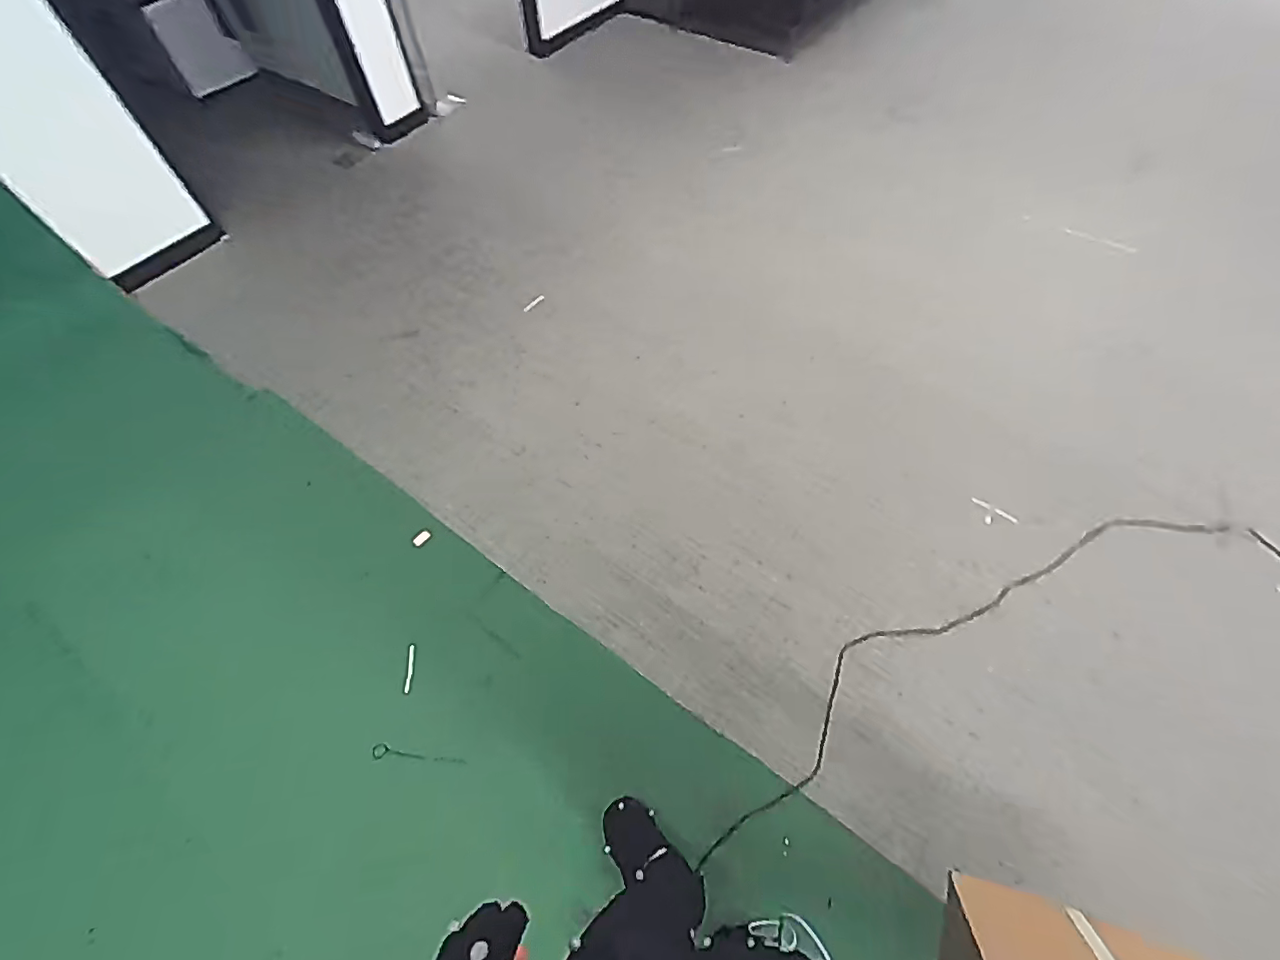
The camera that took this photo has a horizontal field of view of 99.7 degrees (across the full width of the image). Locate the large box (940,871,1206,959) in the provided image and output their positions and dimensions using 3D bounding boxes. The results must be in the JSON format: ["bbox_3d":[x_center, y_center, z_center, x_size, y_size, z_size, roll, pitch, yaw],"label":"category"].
[{"bbox_3d":[0.534,0.747,0.586,0.320,0.408,0.320,9,87,19],"label":"large box"}]
